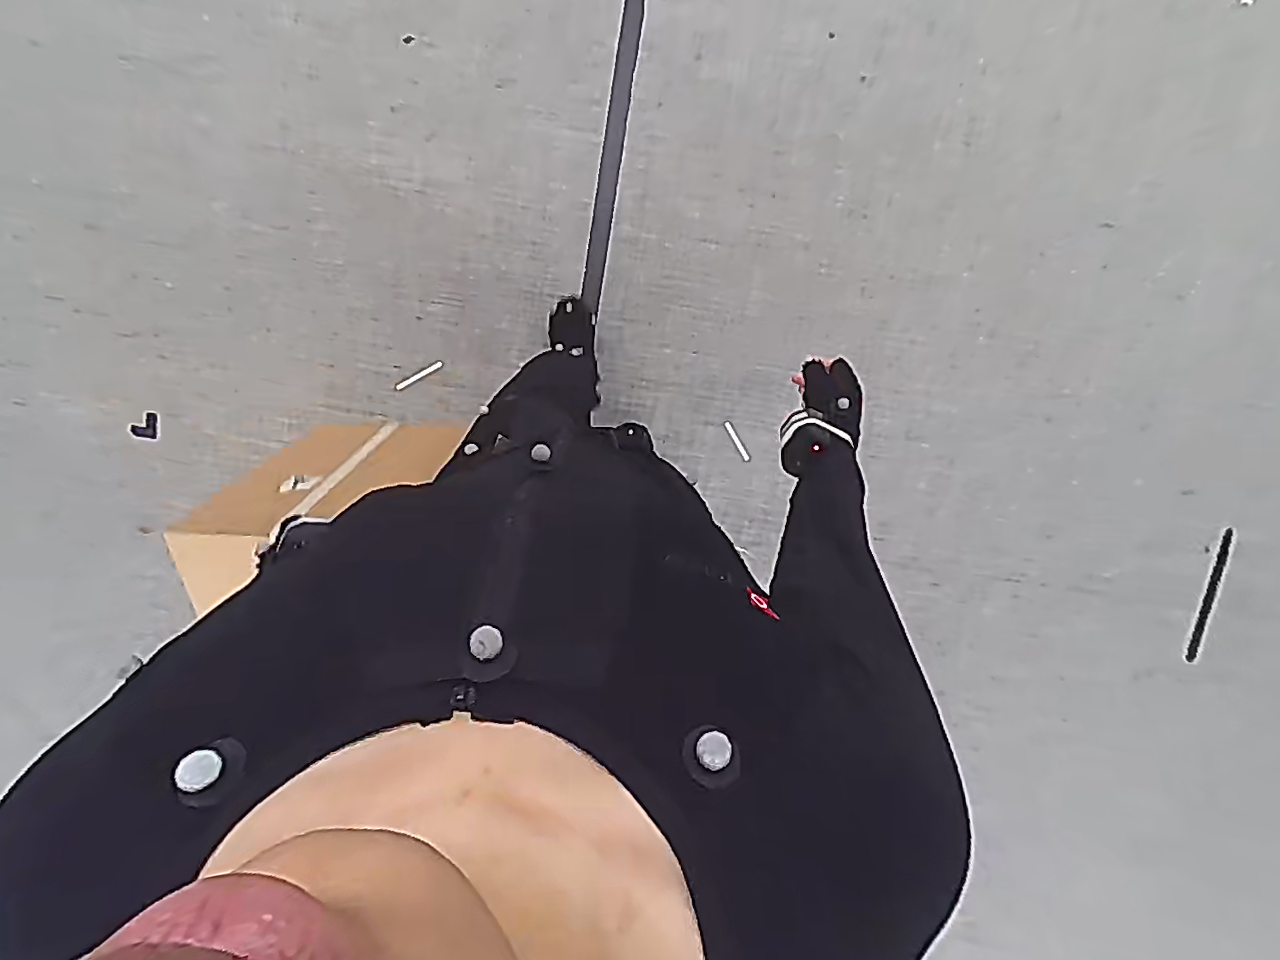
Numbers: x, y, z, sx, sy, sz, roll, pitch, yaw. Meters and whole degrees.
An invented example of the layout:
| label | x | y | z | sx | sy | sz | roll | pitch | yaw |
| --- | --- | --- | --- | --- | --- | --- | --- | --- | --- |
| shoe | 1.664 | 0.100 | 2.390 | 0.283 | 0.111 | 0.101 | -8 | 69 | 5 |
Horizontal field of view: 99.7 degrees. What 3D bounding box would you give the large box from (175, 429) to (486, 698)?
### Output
| label | x | y | z | sx | sy | sz | roll | pitch | yaw |
| --- | --- | --- | --- | --- | --- | --- | --- | --- | --- |
| large box | -0.484 | 0.125 | 0.972 | 0.320 | 0.408 | 0.320 | 0 | 117 | -1 |
